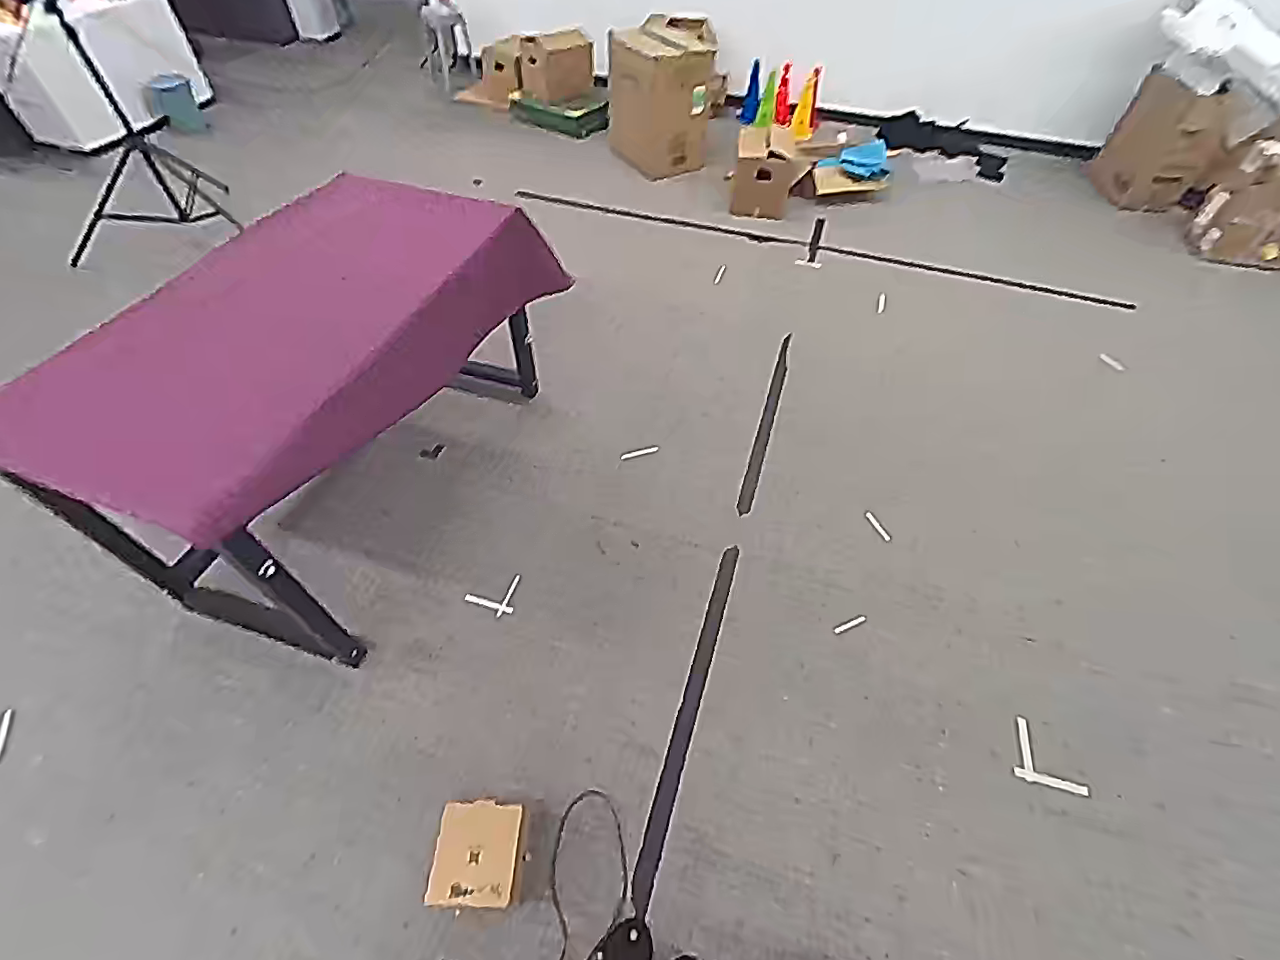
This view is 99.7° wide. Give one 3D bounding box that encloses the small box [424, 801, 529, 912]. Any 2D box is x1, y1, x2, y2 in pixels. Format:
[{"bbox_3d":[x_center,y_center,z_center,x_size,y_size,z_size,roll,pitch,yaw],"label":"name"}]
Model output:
[{"bbox_3d":[-0.335,0.802,1.150,0.168,0.176,0.179,3,51,-1],"label":"small box"}]
